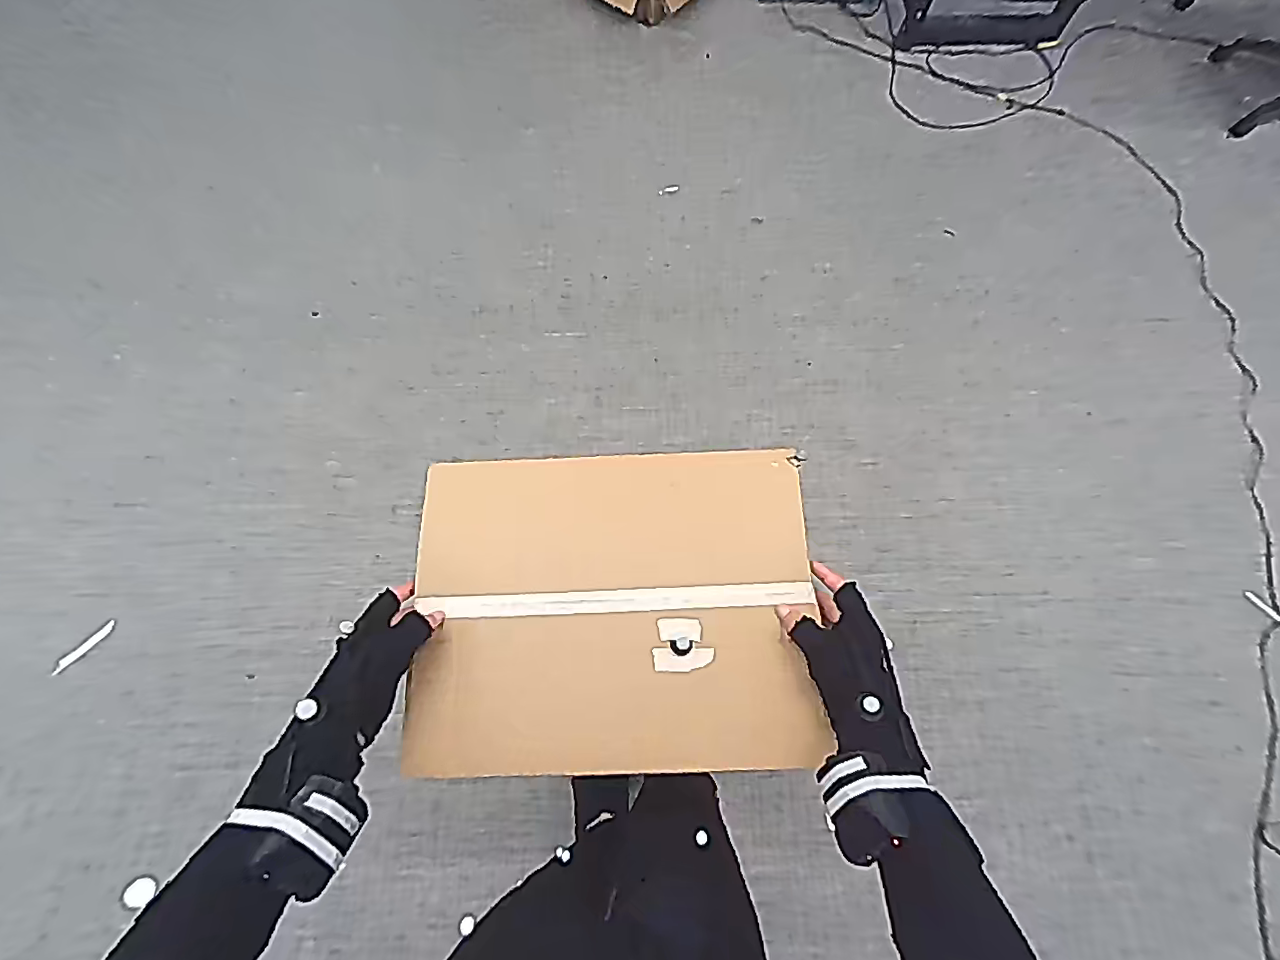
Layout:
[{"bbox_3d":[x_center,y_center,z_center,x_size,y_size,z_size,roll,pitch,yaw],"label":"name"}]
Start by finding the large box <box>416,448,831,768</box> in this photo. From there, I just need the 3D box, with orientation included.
[{"bbox_3d":[-0.020,0.167,0.699,0.408,0.320,0.320,-2,71,1],"label":"large box"}]
